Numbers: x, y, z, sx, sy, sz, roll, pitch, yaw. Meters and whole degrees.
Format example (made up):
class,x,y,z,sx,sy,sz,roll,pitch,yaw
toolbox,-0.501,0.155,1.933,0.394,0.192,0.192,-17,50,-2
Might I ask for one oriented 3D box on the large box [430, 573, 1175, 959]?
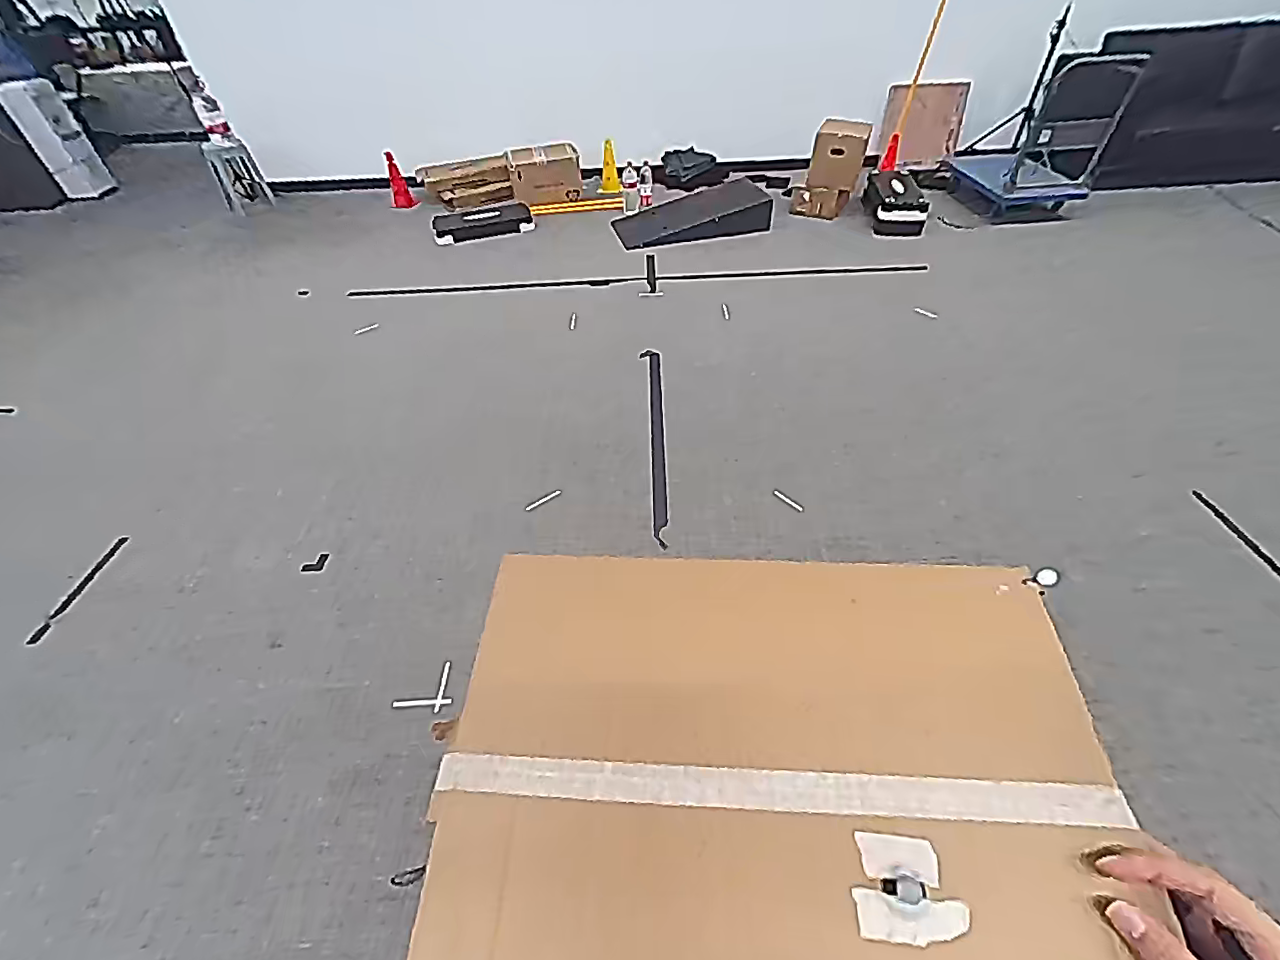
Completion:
class,x,y,z,sx,sy,sz,roll,pitch,yaw
large box,0.090,0.288,0.453,0.408,0.320,0.320,1,54,4
